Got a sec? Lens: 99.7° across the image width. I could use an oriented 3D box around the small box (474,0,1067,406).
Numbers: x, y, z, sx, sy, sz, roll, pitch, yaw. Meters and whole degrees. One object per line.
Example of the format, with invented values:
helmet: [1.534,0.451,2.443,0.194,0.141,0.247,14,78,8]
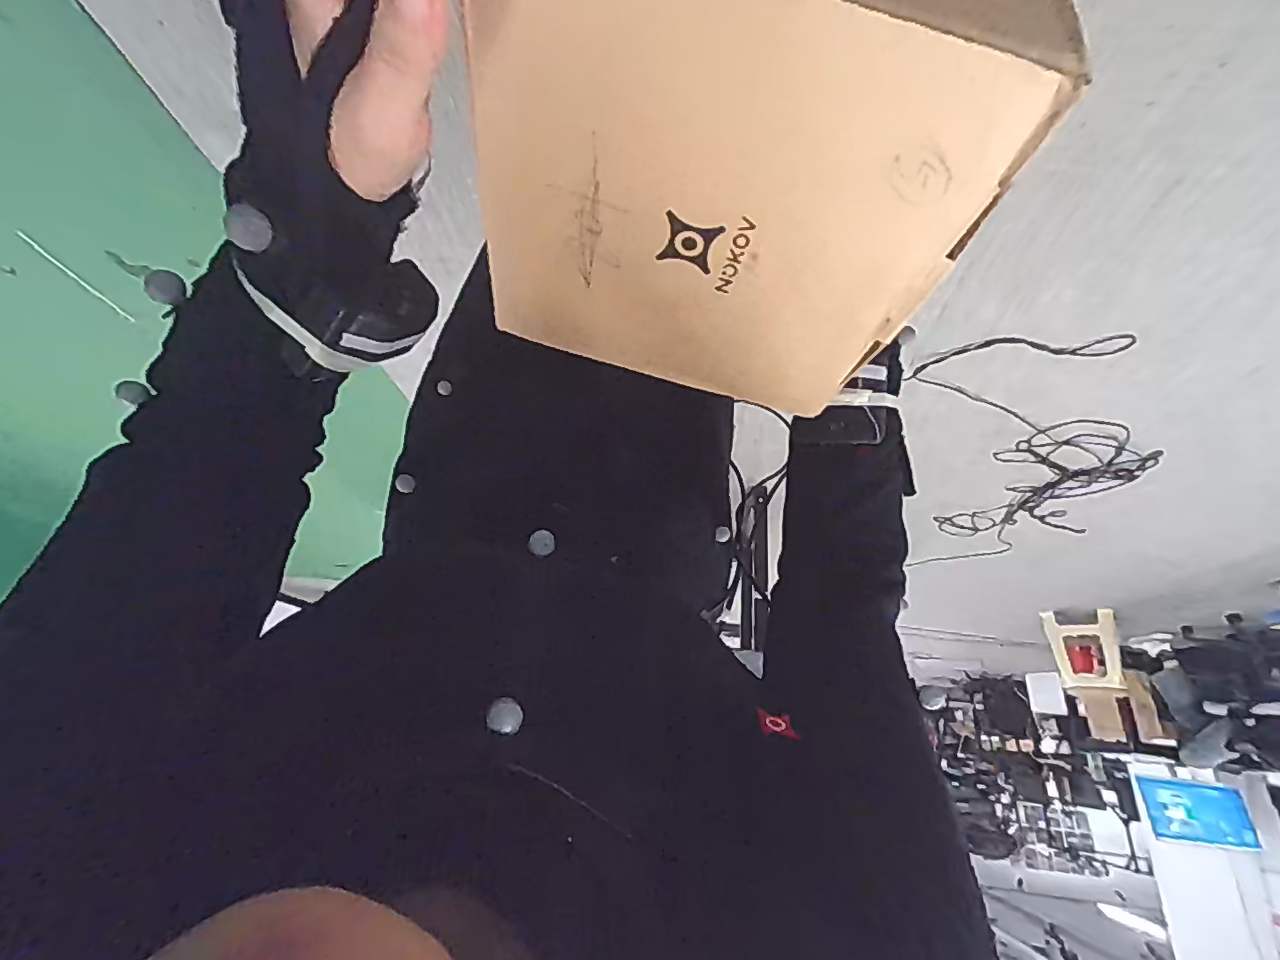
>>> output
small box: [0.042,-0.166,0.253,0.179,0.176,0.168,16,151,-2]
